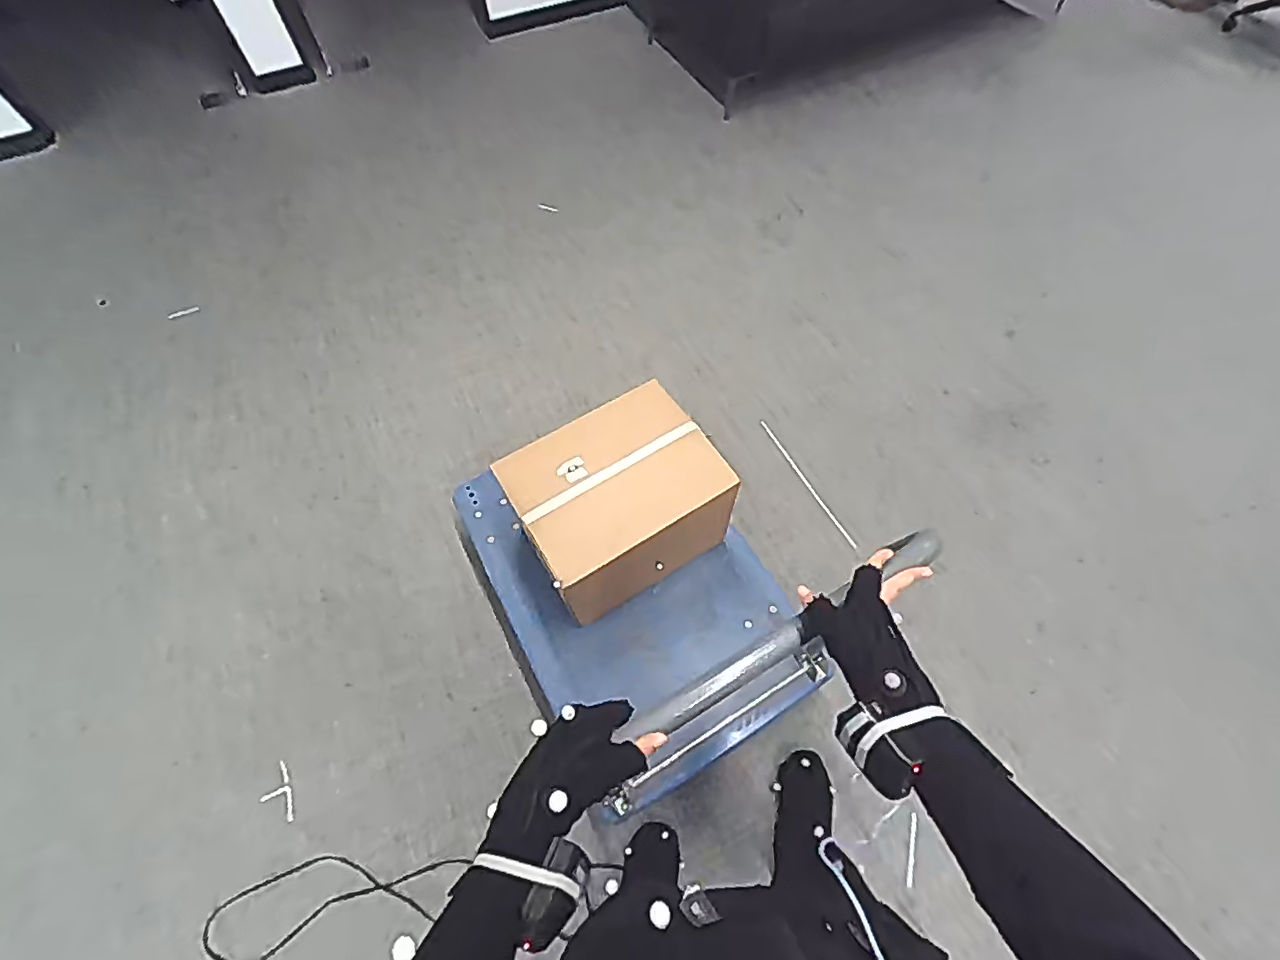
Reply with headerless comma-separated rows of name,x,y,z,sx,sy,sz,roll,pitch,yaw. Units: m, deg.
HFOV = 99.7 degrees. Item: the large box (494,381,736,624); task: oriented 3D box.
large box,-0.047,0.059,1.216,0.408,0.320,0.320,-31,64,-13
